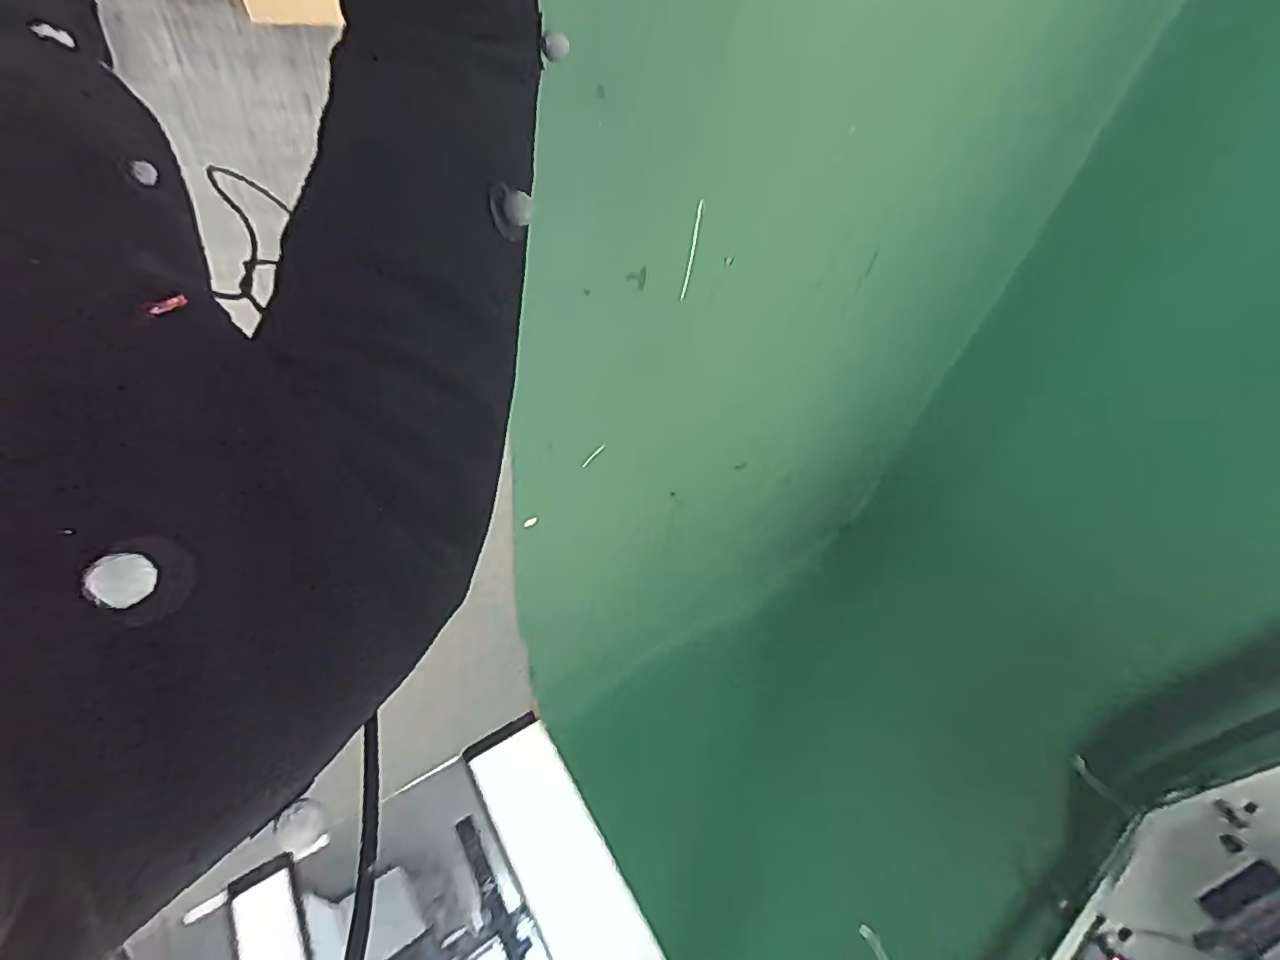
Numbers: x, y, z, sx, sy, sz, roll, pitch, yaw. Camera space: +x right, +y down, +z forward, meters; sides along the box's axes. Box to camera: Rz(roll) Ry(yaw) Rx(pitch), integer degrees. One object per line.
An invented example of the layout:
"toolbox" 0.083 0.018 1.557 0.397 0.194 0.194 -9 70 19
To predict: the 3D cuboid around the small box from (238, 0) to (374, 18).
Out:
"small box" -0.526 -0.803 0.797 0.179 0.176 0.168 -24 143 -25
